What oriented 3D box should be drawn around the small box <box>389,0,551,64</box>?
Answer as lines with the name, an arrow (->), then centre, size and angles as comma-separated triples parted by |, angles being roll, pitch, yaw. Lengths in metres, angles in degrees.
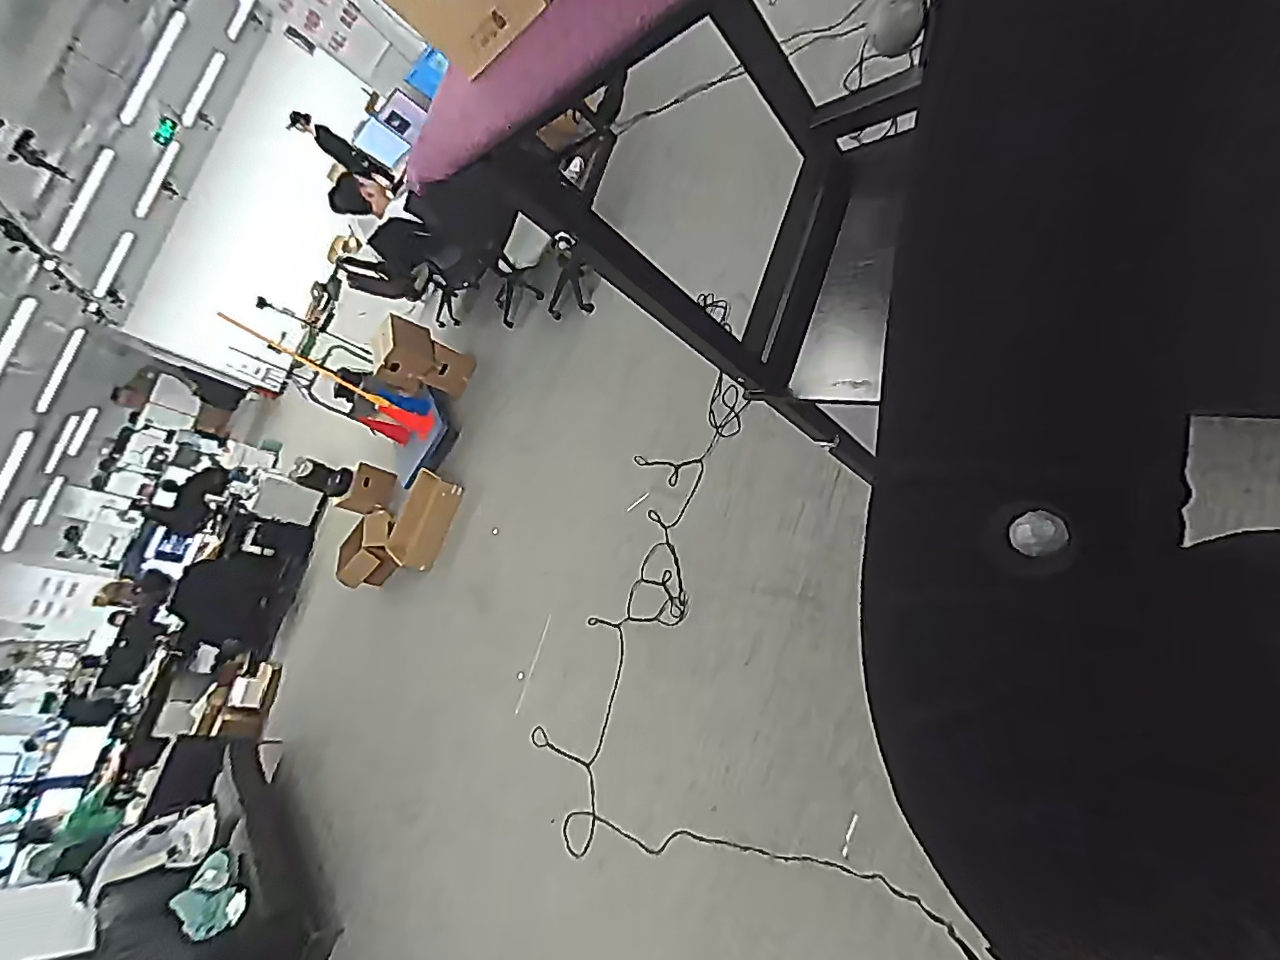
small box -> -0.159, -0.535, 0.497 | 0.168, 0.176, 0.179 | 11, 79, 47
